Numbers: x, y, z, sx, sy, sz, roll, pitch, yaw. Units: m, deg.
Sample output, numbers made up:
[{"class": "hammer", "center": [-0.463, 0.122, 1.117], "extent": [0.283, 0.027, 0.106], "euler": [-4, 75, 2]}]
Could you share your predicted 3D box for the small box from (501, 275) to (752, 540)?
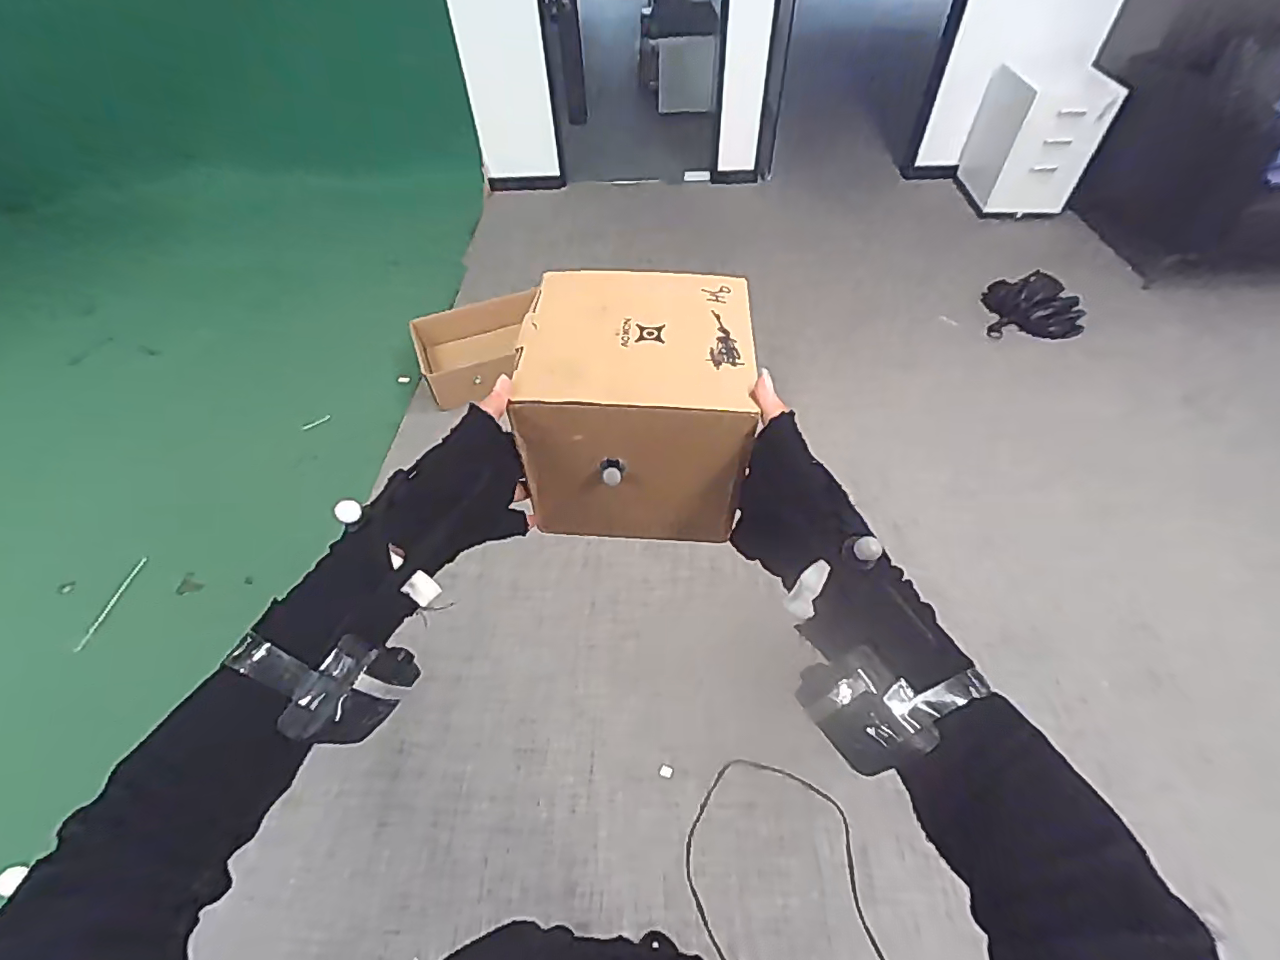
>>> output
[{"class": "small box", "center": [-0.003, -0.060, 0.478], "extent": [0.179, 0.176, 0.168], "euler": [2, 52, 3]}]
